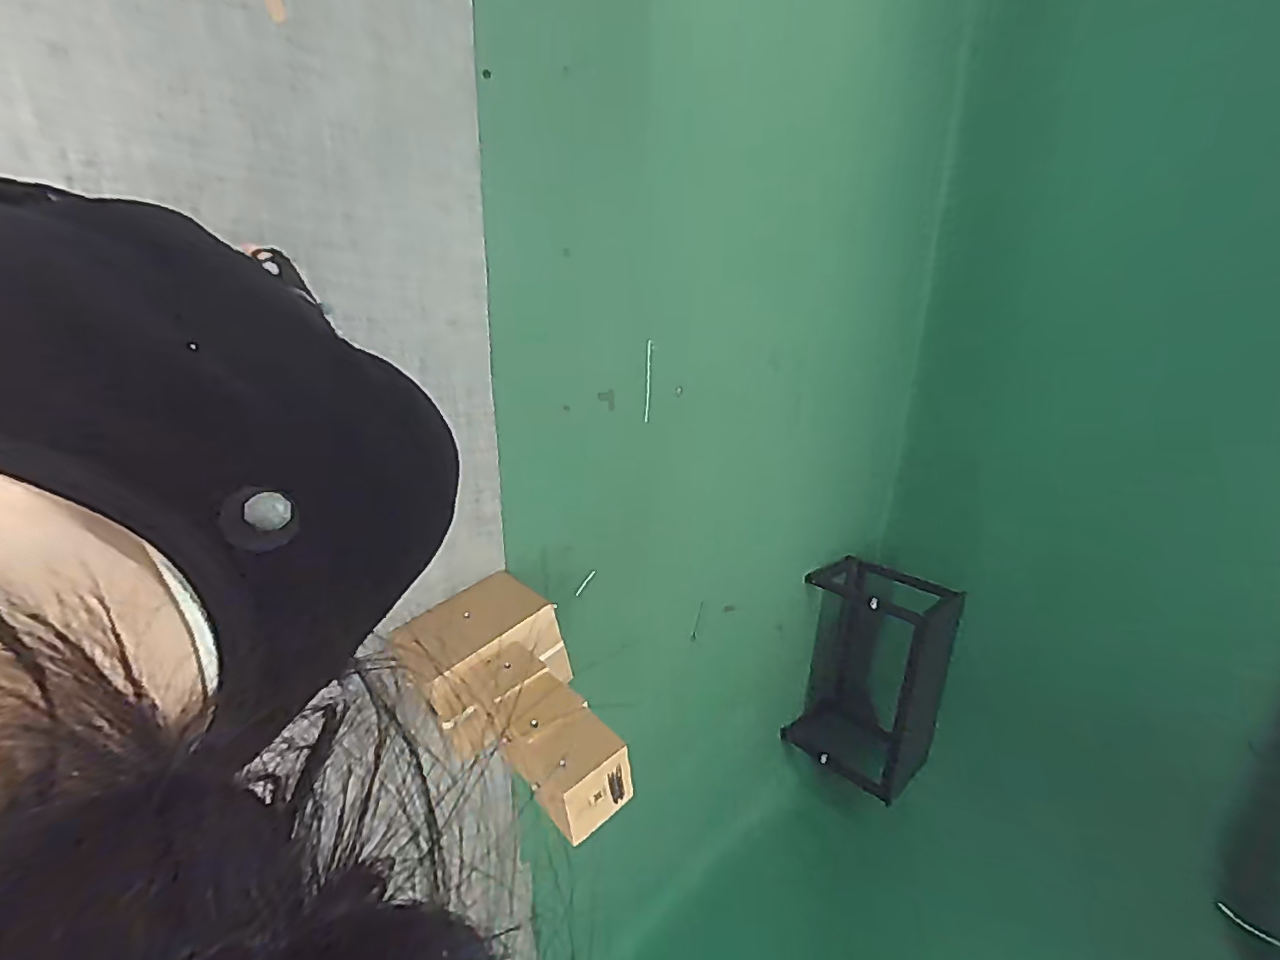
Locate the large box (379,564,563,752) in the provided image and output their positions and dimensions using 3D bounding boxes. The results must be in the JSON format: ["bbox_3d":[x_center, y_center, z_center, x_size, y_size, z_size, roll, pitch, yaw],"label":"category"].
[{"bbox_3d":[-0.514,0.528,1.679,0.408,0.320,0.320,-31,124,-36],"label":"large box"}]

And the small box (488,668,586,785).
[{"bbox_3d":[-0.260,0.612,1.369,0.179,0.176,0.168,-22,118,-38],"label":"small box"}]

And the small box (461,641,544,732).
[{"bbox_3d":[-0.368,0.567,1.481,0.168,0.176,0.179,-23,119,-37],"label":"small box"}]
